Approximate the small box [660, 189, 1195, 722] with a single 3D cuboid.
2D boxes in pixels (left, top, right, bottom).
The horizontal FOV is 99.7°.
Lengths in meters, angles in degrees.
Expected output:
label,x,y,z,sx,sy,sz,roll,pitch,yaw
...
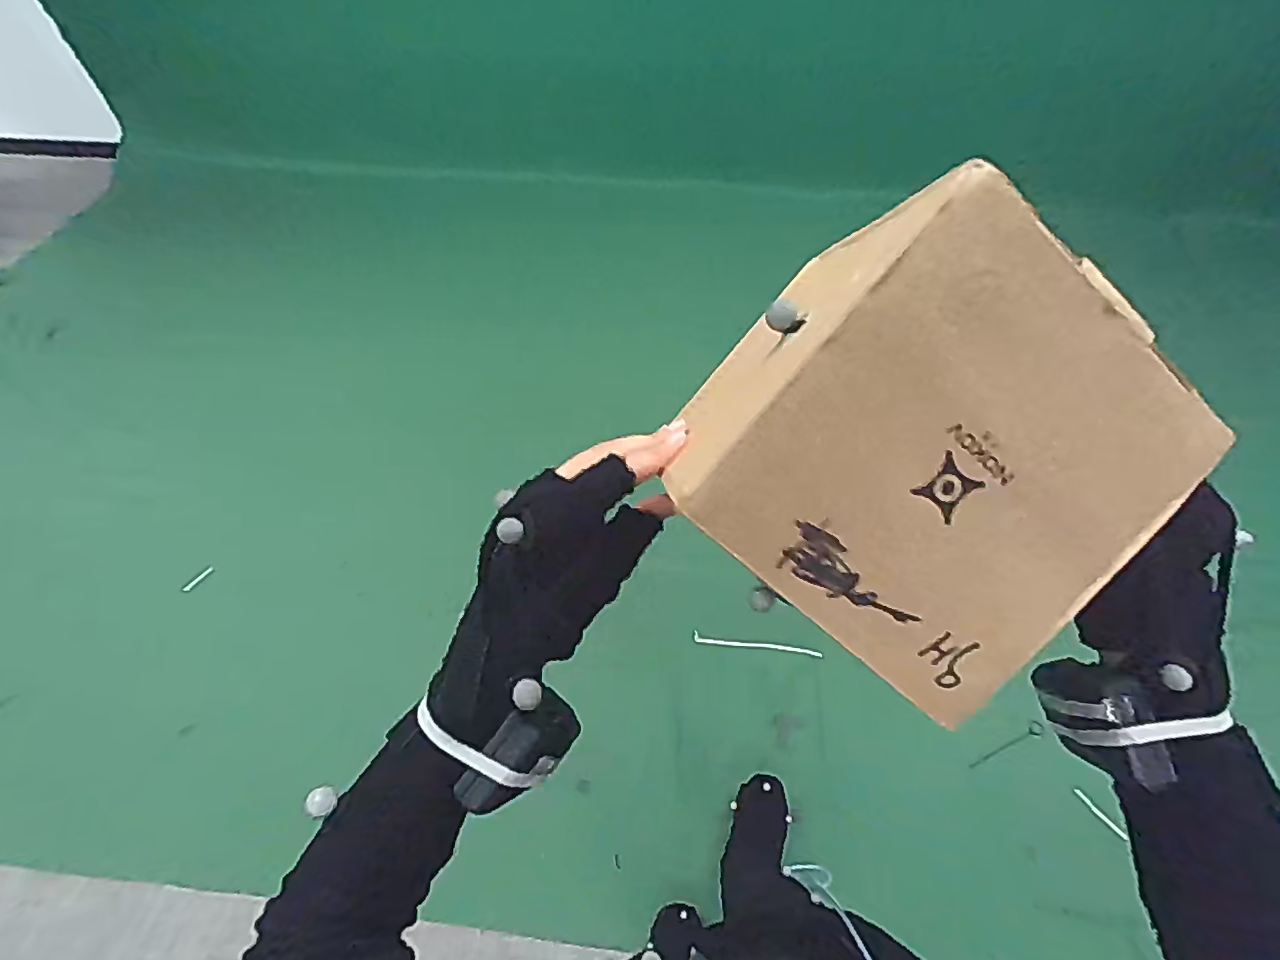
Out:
label,x,y,z,sx,sy,sz,roll,pitch,yaw
small box,0.125,-0.014,0.312,0.168,0.176,0.179,40,94,-7
